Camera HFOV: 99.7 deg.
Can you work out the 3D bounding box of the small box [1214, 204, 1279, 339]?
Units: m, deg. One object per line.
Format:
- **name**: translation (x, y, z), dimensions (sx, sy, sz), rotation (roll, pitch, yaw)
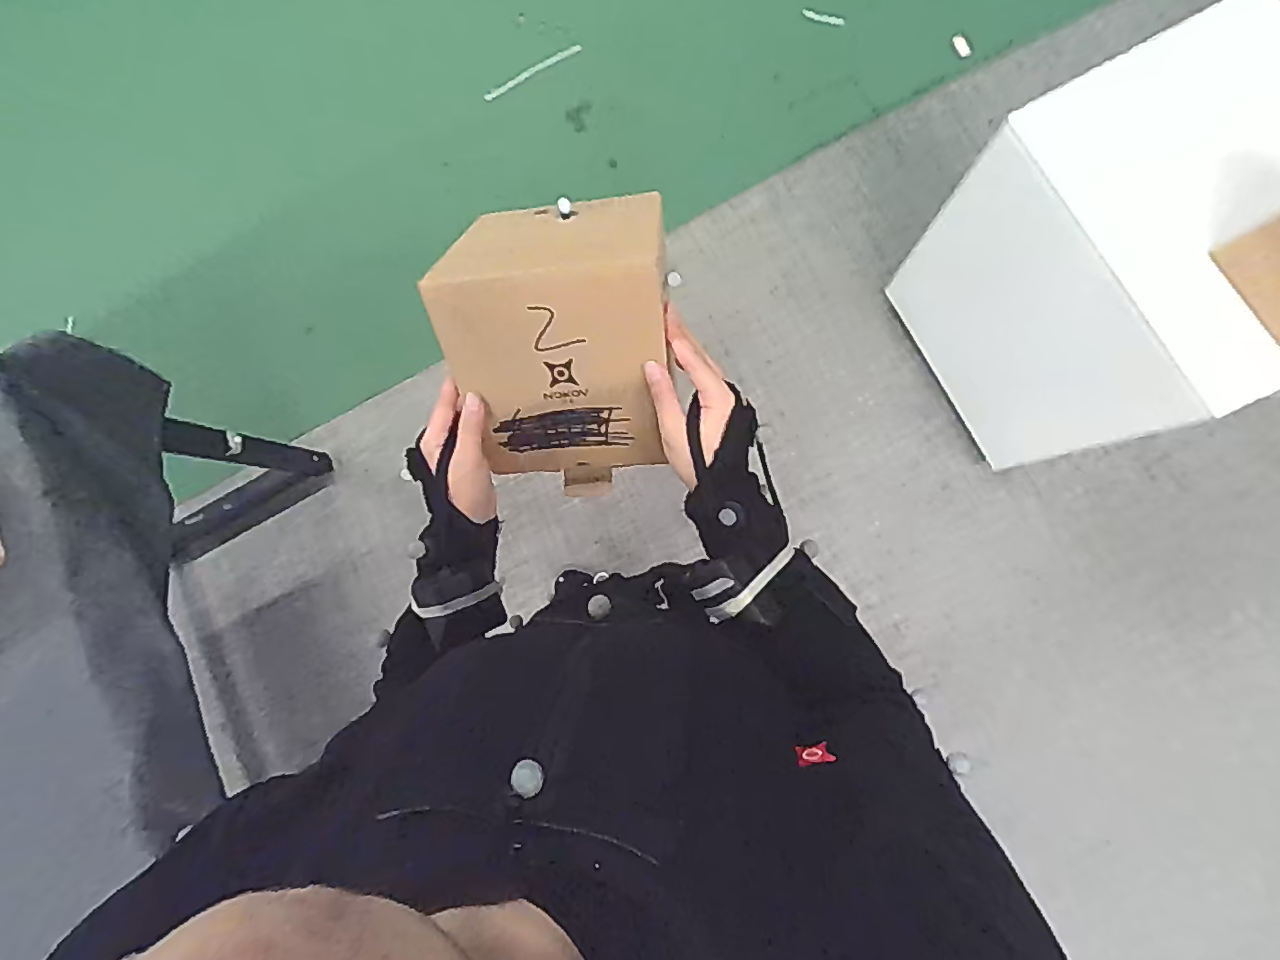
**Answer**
- **small box**: translation (0.867, -0.288, 0.638), dimensions (0.168, 0.176, 0.179), rotation (-29, 81, 4)
